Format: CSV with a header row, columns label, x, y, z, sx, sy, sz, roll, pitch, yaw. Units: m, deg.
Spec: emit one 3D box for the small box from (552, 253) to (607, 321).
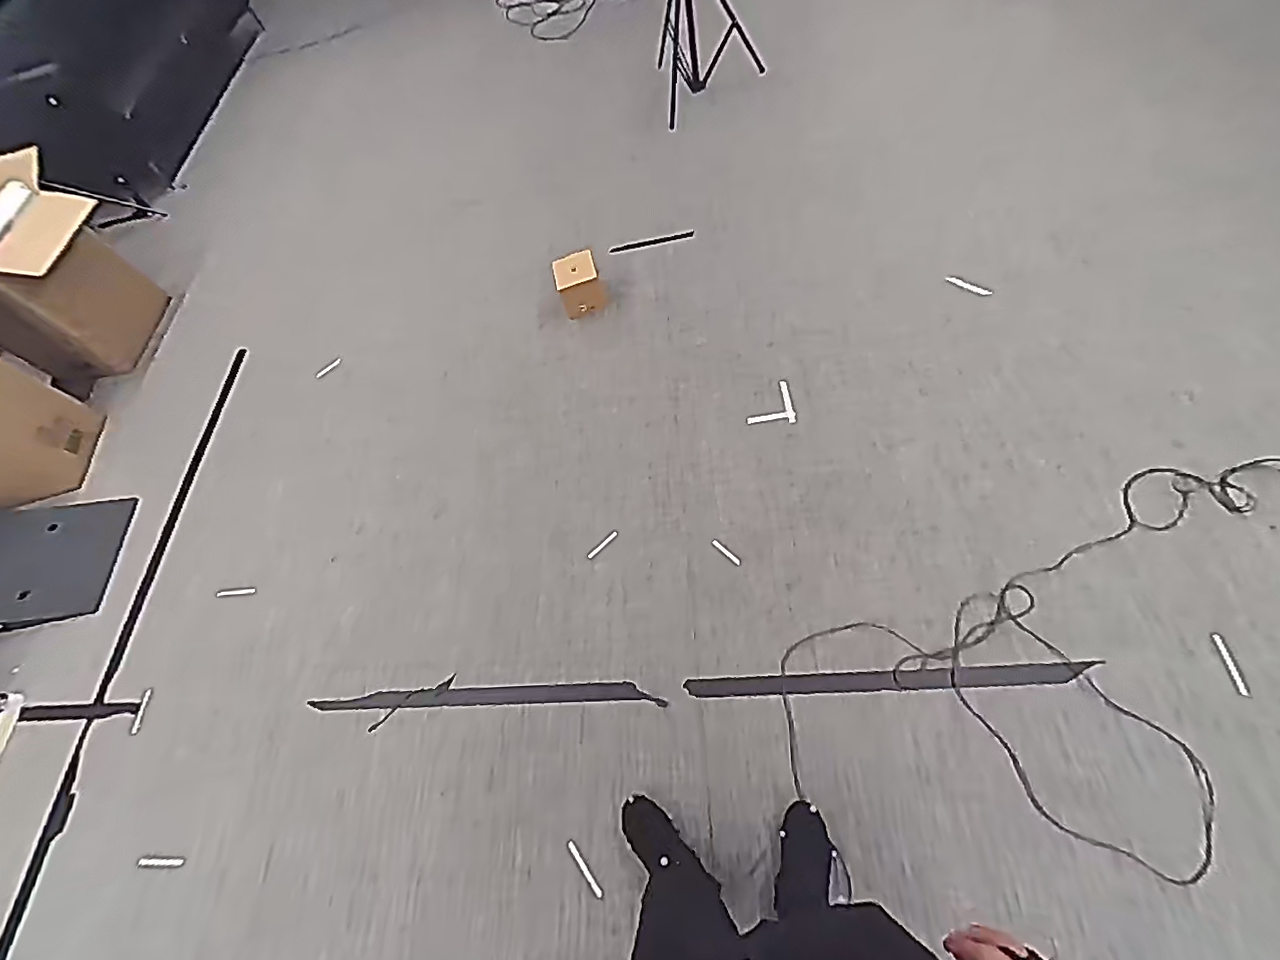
label,x,y,z,sx,sy,sz,roll,pitch,yaw
small box,-0.245,-0.786,2.209,0.168,0.176,0.179,-17,60,5
